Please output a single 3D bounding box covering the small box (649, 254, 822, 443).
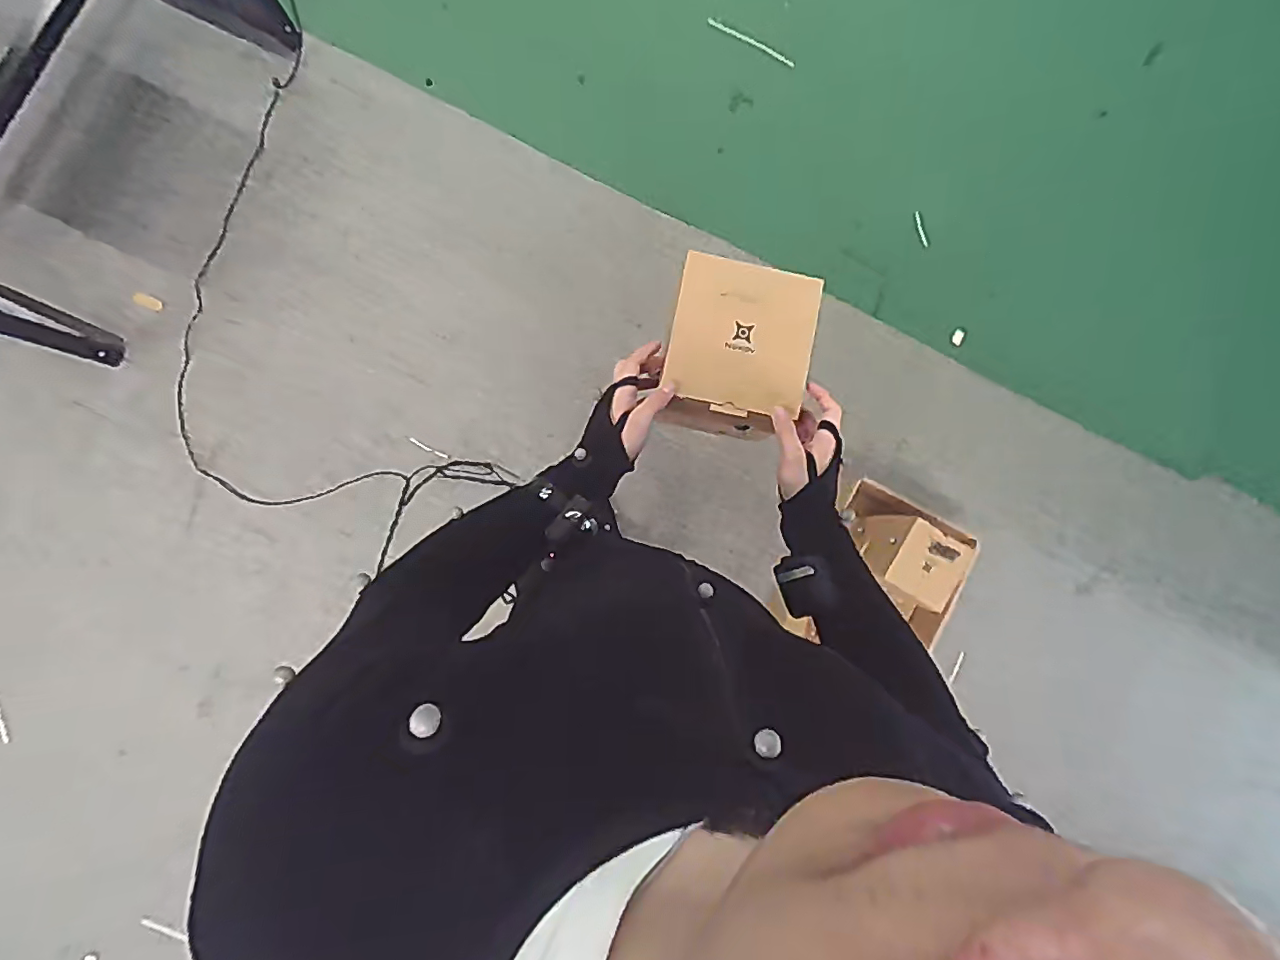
[{"bbox_3d":[0.109,-0.153,0.695,0.168,0.176,0.179,12,85,-3],"label":"small box"}]

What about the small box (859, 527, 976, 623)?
[{"bbox_3d":[0.690,0.231,1.368,0.168,0.176,0.179,32,86,0],"label":"small box"}]

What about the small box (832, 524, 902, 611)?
[{"bbox_3d":[0.683,0.242,1.531,0.179,0.176,0.168,40,86,-1],"label":"small box"}]
